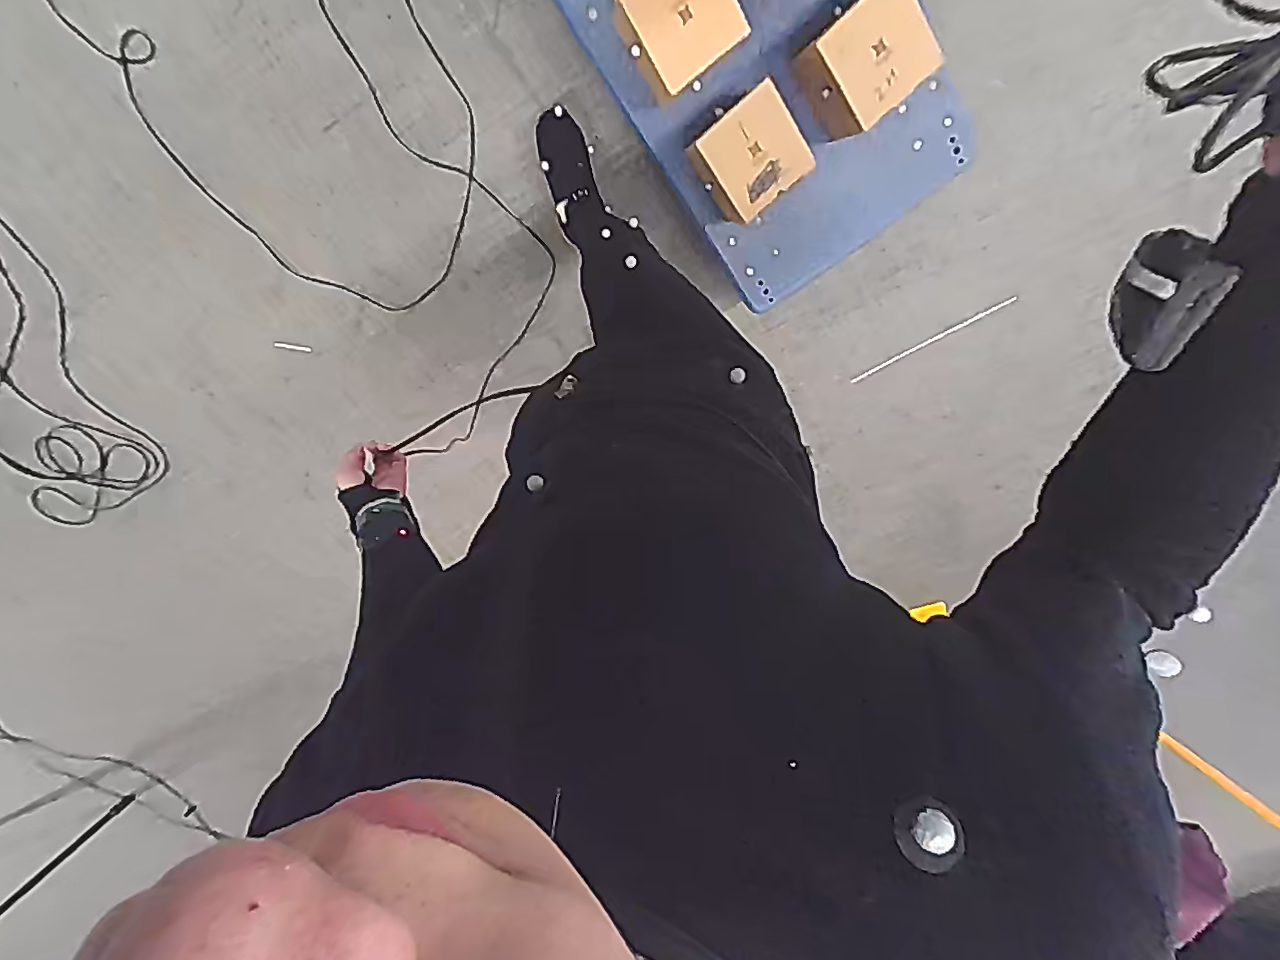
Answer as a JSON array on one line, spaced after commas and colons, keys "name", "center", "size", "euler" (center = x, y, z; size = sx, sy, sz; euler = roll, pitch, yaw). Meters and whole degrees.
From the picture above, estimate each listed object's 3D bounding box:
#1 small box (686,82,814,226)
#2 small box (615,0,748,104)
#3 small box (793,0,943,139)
[{"name": "small box", "center": [0.211, -0.636, 1.072], "size": [0.168, 0.176, 0.179], "euler": [-36, 113, 14]}, {"name": "small box", "center": [0.070, -0.815, 0.974], "size": [0.168, 0.176, 0.179], "euler": [-33, 114, 13]}, {"name": "small box", "center": [0.414, -0.776, 1.010], "size": [0.168, 0.176, 0.179], "euler": [-38, 113, 16]}]
